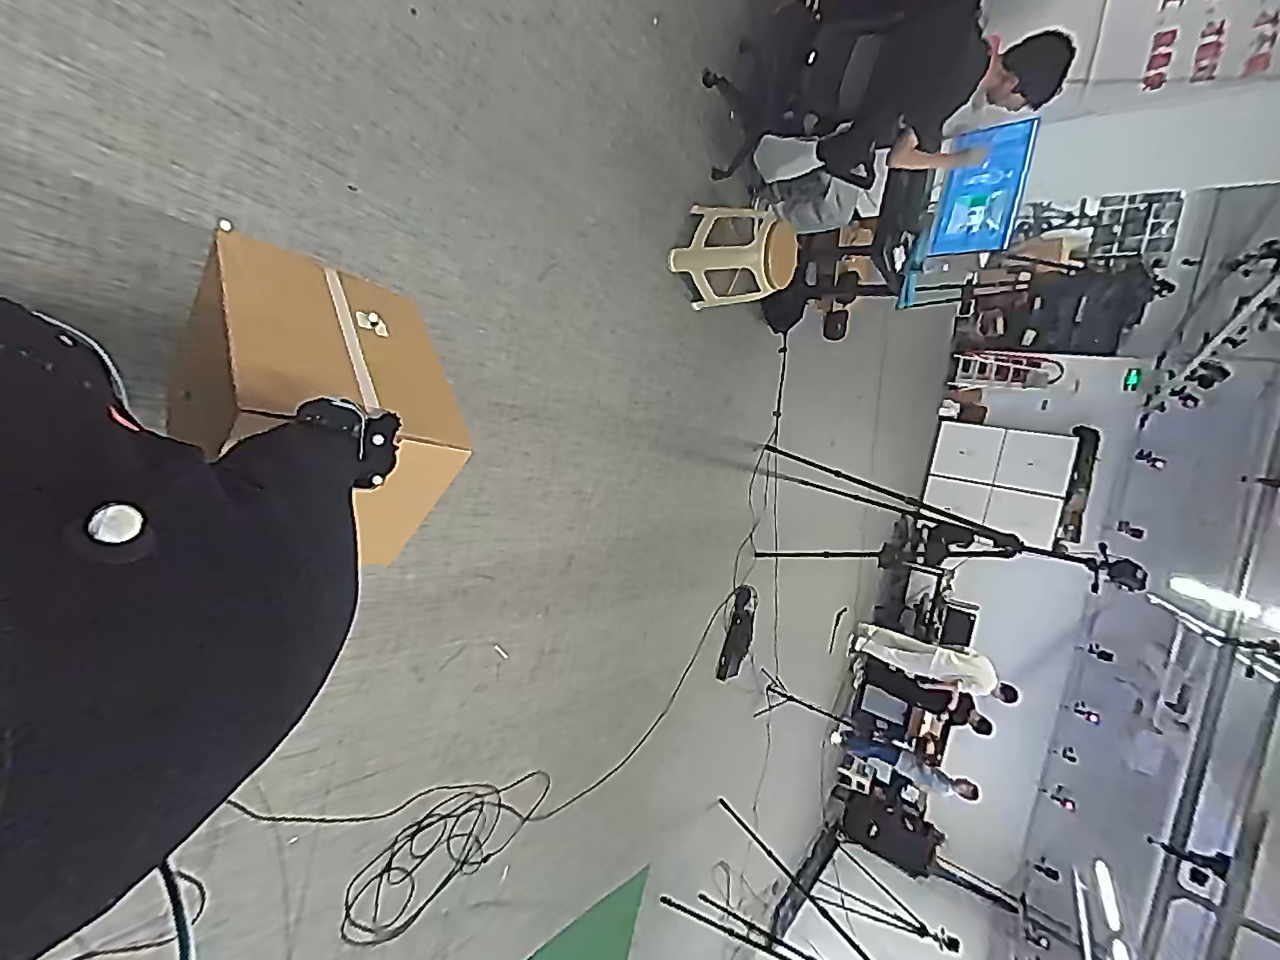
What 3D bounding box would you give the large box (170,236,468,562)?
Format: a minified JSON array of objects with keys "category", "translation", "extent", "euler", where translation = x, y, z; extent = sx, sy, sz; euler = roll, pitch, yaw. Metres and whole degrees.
[{"category":"large box","translation":[-0.552,-0.112,0.908],"extent":[0.320,0.408,0.320],"euler":[-46,148,24]}]
